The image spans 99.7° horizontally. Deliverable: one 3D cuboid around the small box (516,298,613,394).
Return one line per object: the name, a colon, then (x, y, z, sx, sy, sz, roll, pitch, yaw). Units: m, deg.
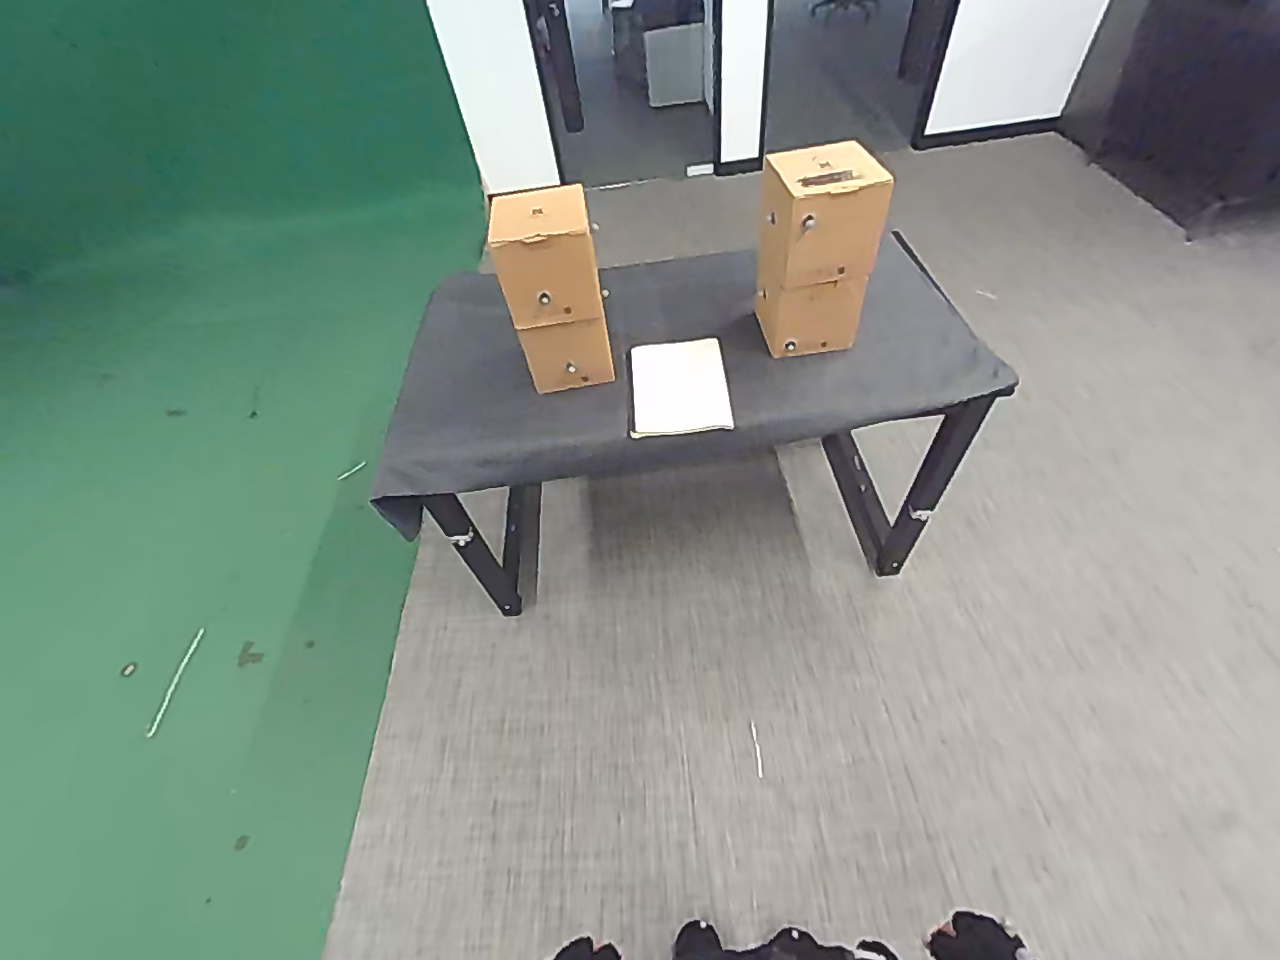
small box: (-0.153, -0.305, 1.120, 0.168, 0.176, 0.179, -10, 51, -1)

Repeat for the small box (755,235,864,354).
small box: (0.338, -0.374, 1.115, 0.168, 0.176, 0.179, -7, 50, 1)

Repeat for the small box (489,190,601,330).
small box: (-0.167, -0.400, 0.989, 0.168, 0.176, 0.179, -9, 50, -1)
